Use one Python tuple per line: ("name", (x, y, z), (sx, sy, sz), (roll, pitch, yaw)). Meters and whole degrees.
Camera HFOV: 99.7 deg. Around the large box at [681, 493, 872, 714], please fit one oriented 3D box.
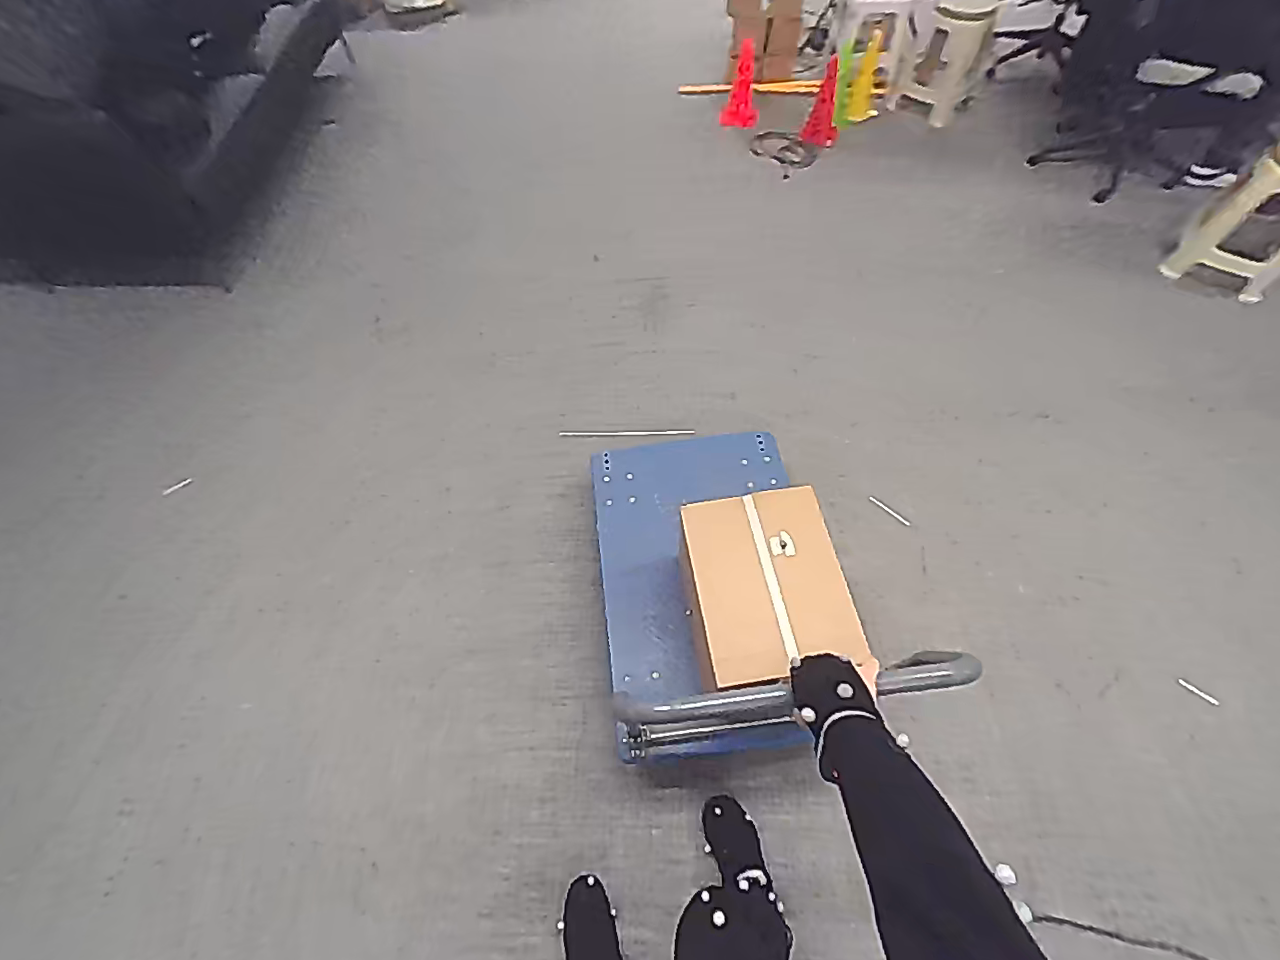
("large box", (0.283, 0.296, 1.279), (0.320, 0.320, 0.408), (-8, 59, -3))
